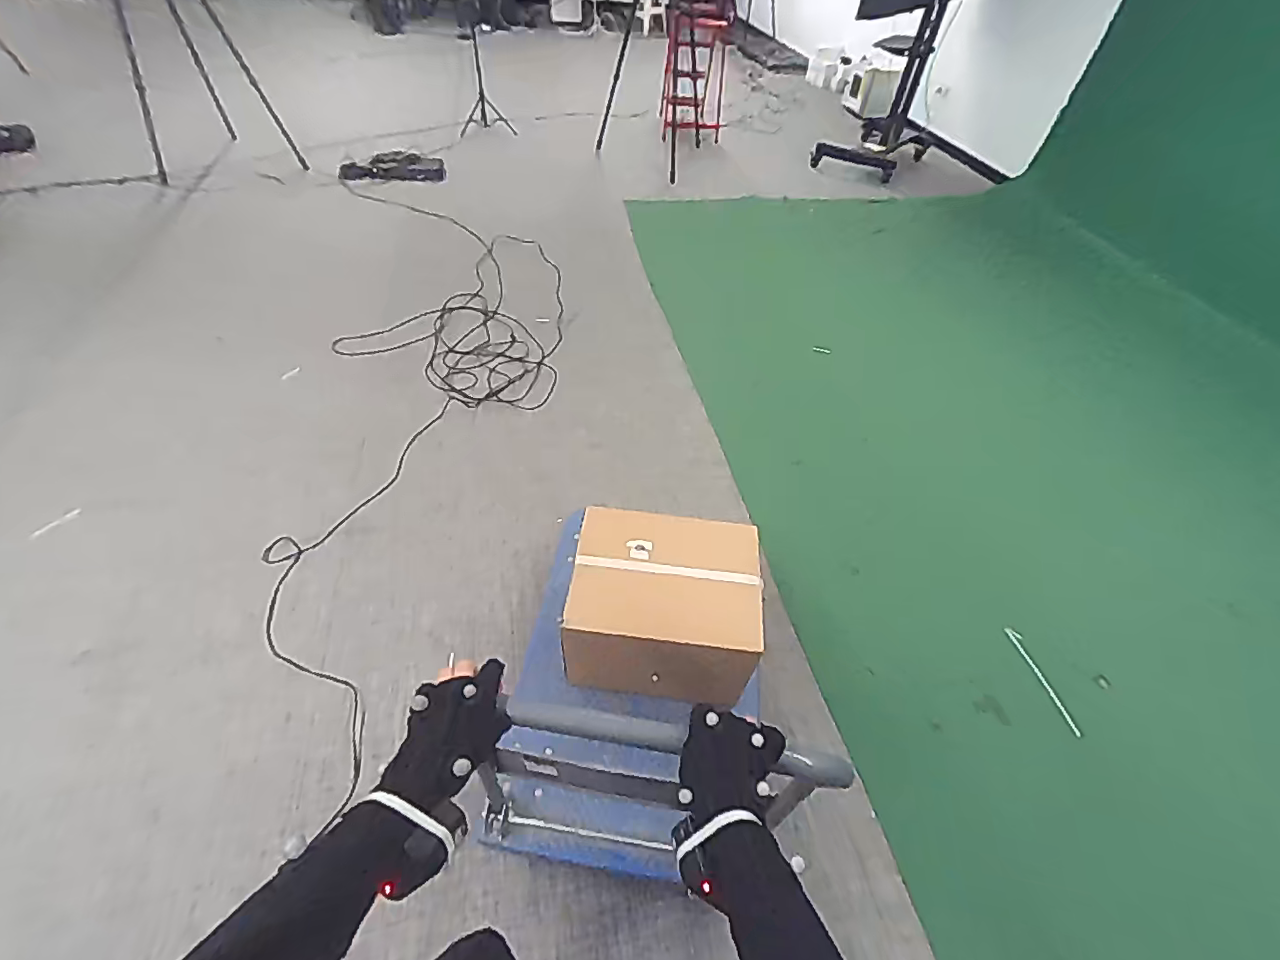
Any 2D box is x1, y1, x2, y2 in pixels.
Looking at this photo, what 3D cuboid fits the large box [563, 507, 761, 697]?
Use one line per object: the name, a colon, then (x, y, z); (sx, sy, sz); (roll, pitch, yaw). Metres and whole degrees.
large box: (0.050, 0.294, 1.280); (0.408, 0.320, 0.320); (6, 48, 2)
